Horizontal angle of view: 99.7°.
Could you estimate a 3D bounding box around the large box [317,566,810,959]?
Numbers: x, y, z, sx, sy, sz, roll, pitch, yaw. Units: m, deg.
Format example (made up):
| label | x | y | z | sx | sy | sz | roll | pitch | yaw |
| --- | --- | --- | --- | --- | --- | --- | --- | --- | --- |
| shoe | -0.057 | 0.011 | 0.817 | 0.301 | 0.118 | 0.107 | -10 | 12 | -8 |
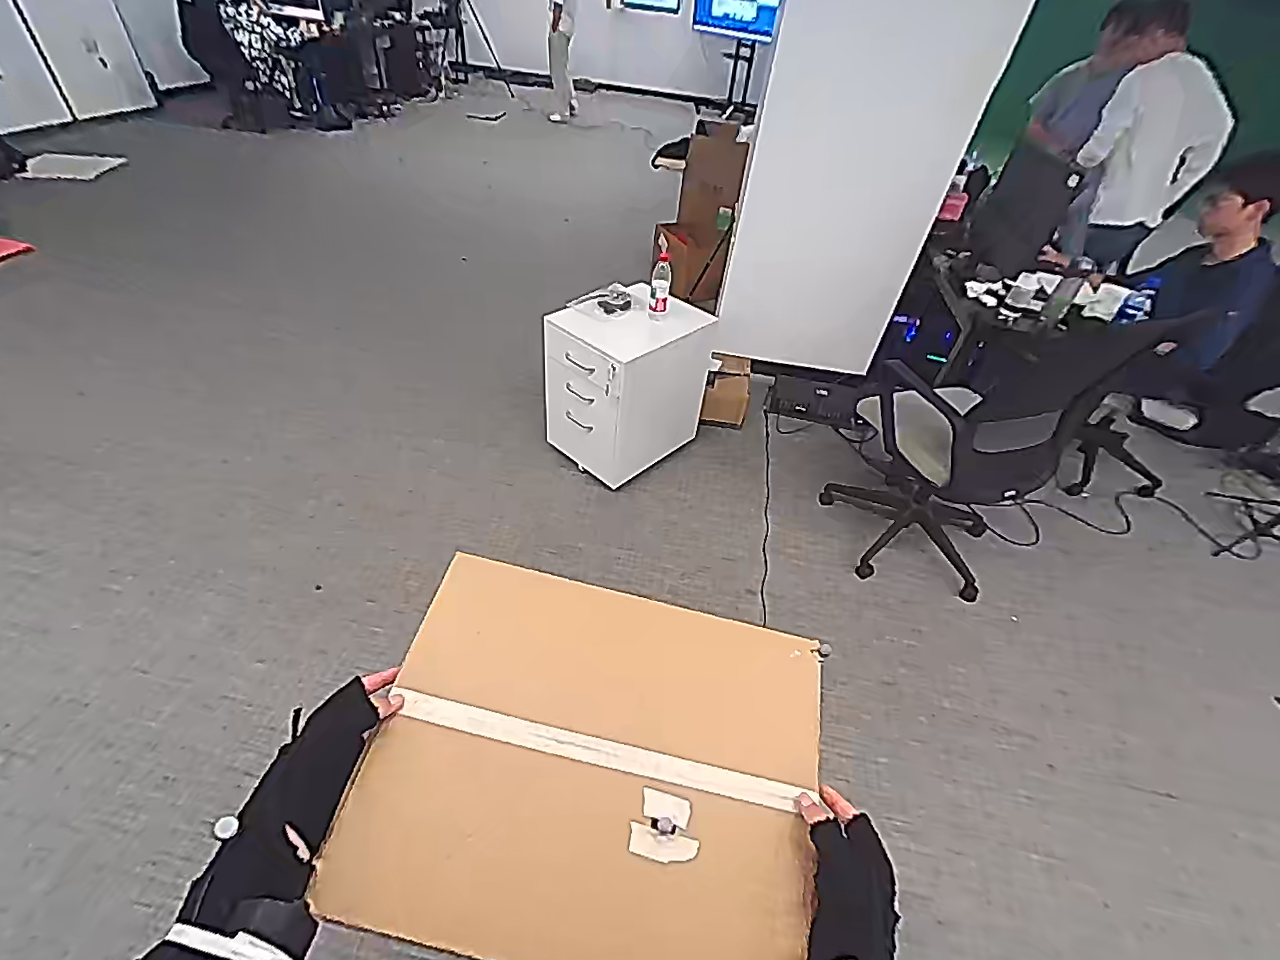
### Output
| label | x | y | z | sx | sy | sz | roll | pitch | yaw |
| --- | --- | --- | --- | --- | --- | --- | --- | --- | --- |
| large box | -0.055 | 0.343 | 0.629 | 0.408 | 0.320 | 0.320 | 14 | 55 | 1 |
